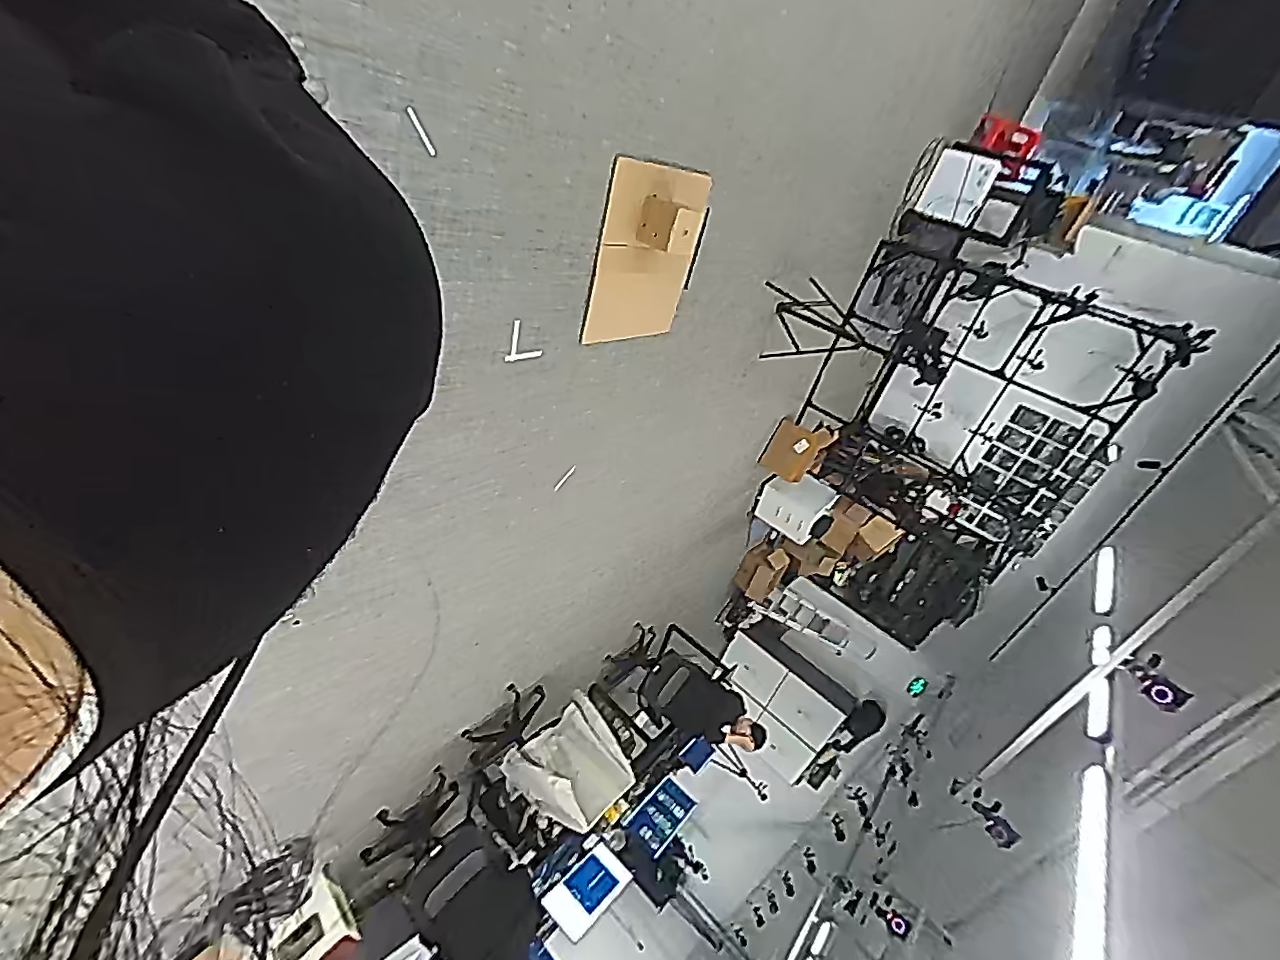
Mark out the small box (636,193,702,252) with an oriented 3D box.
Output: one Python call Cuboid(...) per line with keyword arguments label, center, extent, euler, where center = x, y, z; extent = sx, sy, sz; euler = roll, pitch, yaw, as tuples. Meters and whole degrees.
Cuboid(label="small box", center=(0.110, -1.013, 2.129), extent=(0.179, 0.176, 0.168), euler=(-23, 141, -47))
